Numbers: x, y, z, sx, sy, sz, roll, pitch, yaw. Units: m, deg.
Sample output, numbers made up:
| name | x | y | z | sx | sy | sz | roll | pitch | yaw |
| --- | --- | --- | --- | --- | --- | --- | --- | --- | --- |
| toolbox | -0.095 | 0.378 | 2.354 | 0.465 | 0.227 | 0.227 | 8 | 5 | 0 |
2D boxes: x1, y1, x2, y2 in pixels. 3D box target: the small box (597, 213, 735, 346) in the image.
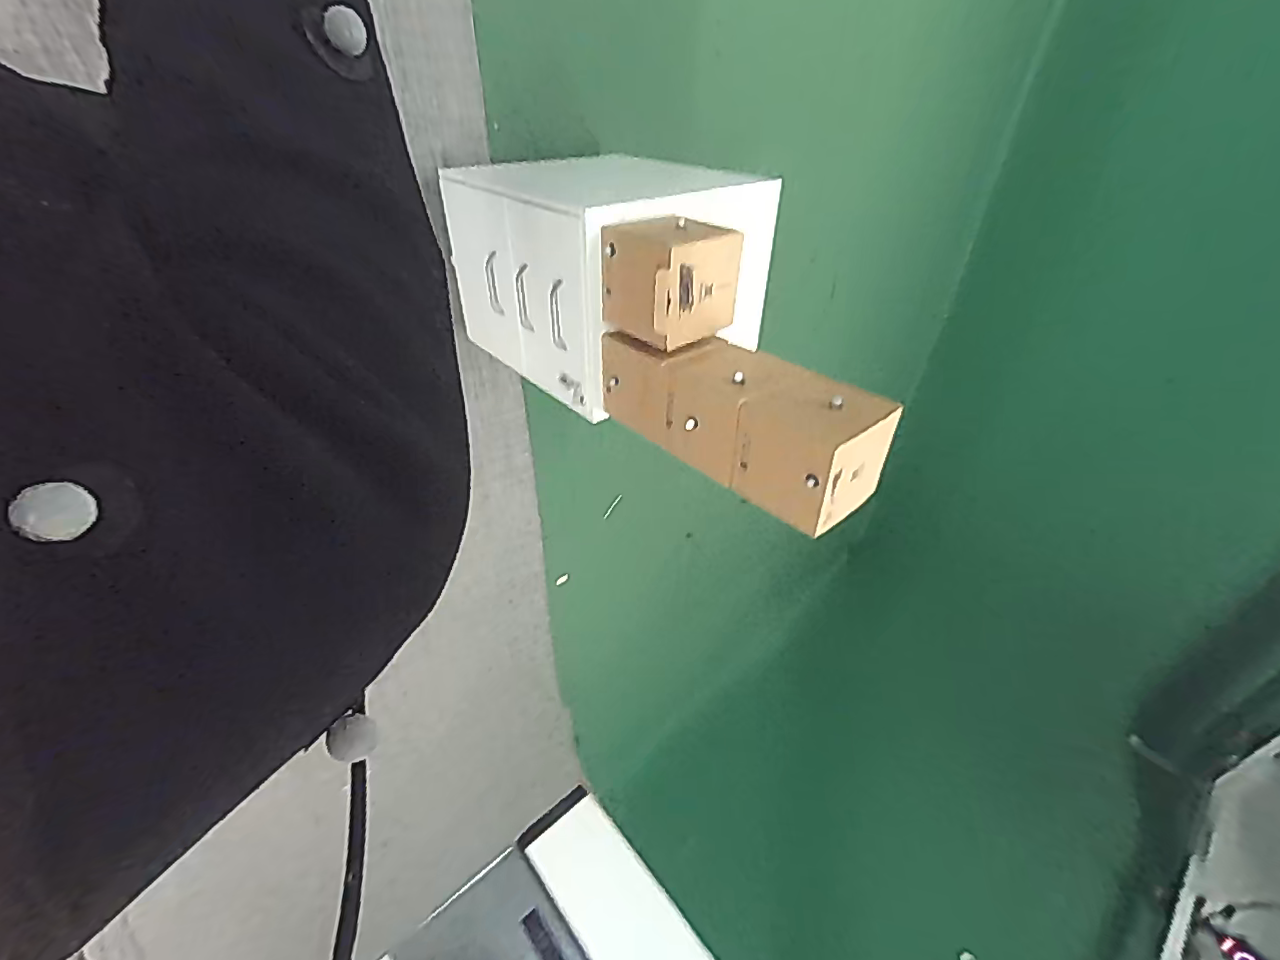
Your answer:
| name | x | y | z | sx | sy | sz | roll | pitch | yaw |
| --- | --- | --- | --- | --- | --- | --- | --- | --- | --- |
| small box | 0.037 | -0.353 | 0.938 | 0.179 | 0.176 | 0.168 | -28 | 137 | -34 |

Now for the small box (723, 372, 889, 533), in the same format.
| name | x | y | z | sx | sy | sz | roll | pitch | yaw |
| --- | --- | --- | --- | --- | --- | --- | --- | --- | --- |
| small box | 0.258 | -0.054 | 0.862 | 0.179 | 0.176 | 0.168 | -29 | 136 | -32 |

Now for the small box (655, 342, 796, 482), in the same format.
| name | x | y | z | sx | sy | sz | roll | pitch | yaw |
| --- | --- | --- | --- | --- | --- | --- | --- | --- | --- |
| small box | 0.143 | -0.127 | 0.952 | 0.179 | 0.176 | 0.168 | -27 | 135 | -34 |
